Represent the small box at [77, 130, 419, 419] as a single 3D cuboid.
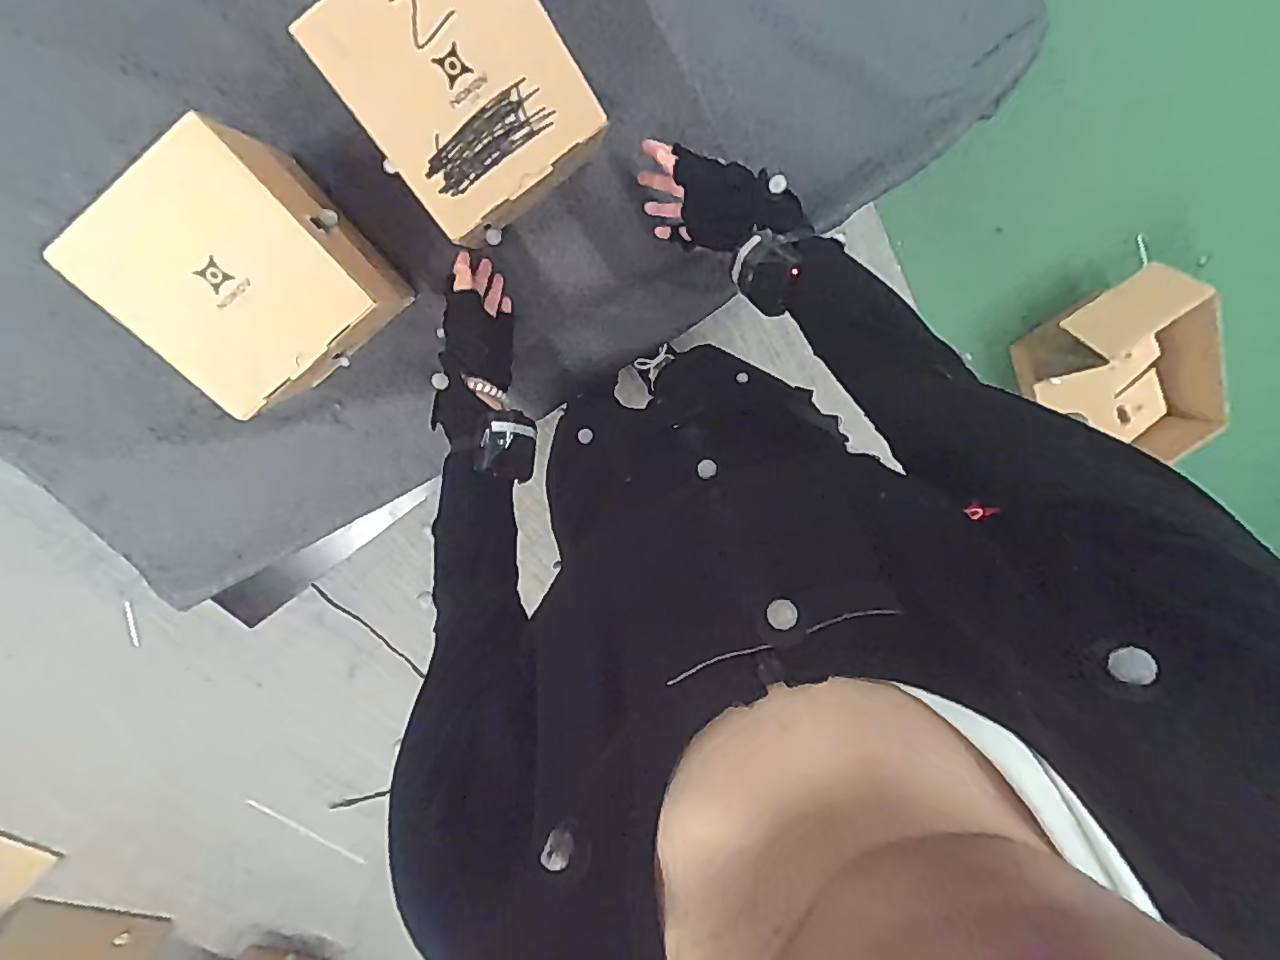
[{"bbox_3d":[-0.351,-0.190,0.529,0.168,0.176,0.179,-38,113,6],"label":"small box"}]
